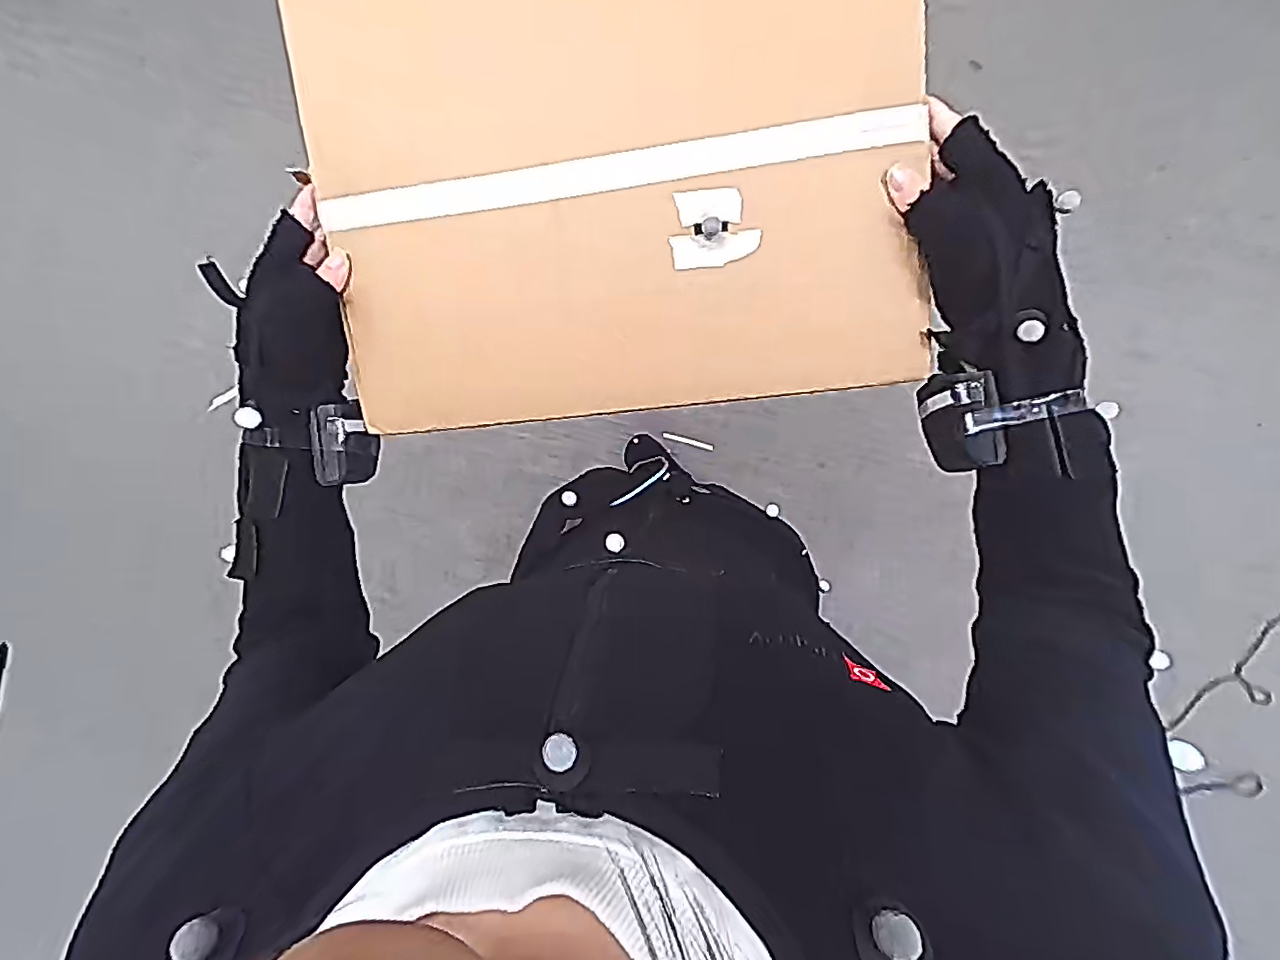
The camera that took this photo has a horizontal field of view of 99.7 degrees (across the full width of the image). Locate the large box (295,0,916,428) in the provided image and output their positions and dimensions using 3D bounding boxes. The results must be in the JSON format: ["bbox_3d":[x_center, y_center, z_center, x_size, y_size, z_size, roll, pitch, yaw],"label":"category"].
[{"bbox_3d":[-0.012,-0.240,0.518,0.408,0.320,0.320,-6,101,6],"label":"large box"}]
